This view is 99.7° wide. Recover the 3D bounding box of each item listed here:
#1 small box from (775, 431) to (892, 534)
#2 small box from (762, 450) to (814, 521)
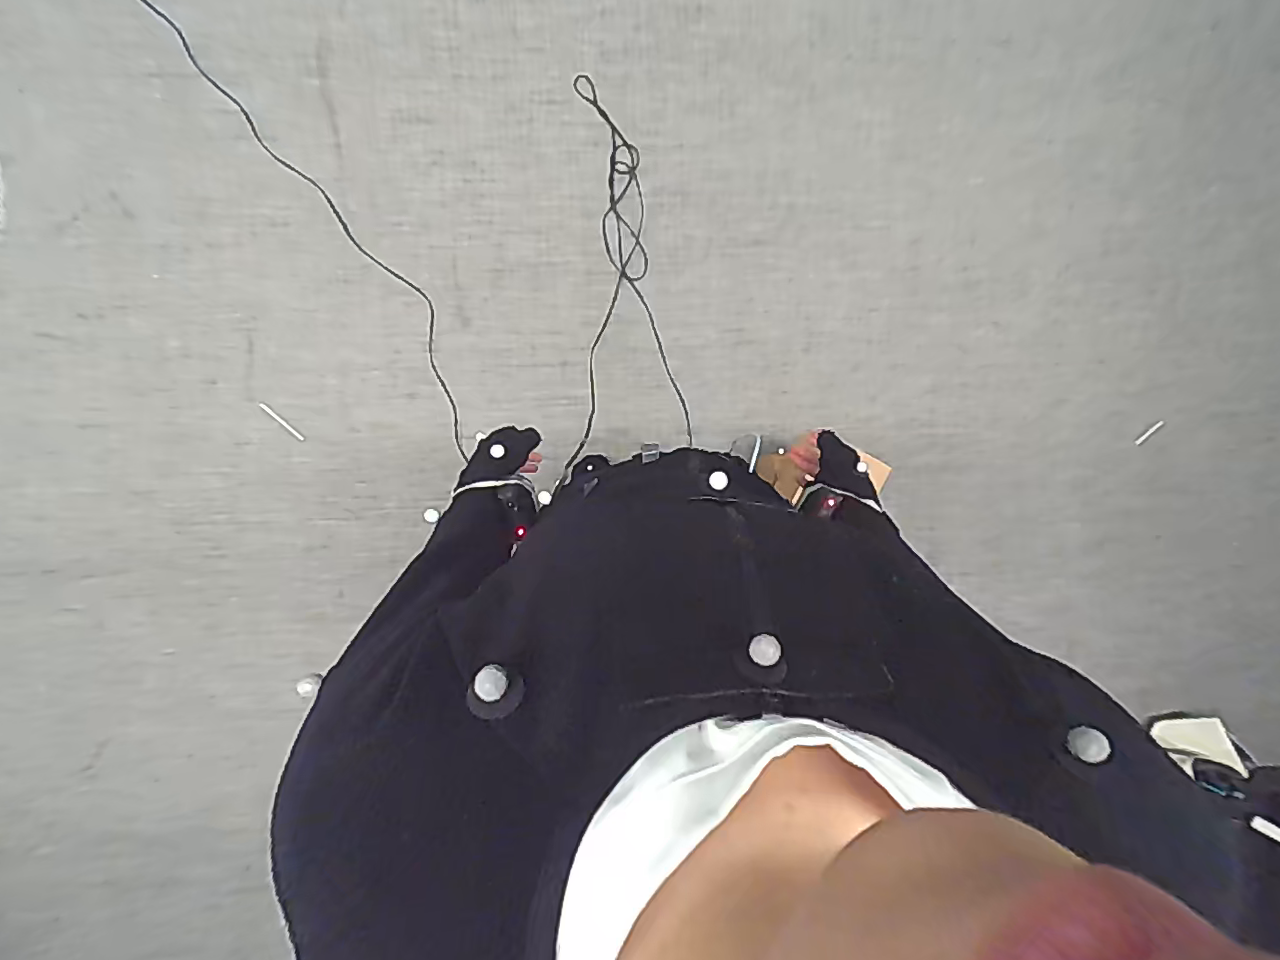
[{"bbox_3d":[0.438,0.000,1.258,0.168,0.176,0.179,27,93,-4],"label":"small box"},{"bbox_3d":[0.424,0.007,1.407,0.179,0.176,0.168,-7,95,-3],"label":"small box"}]
